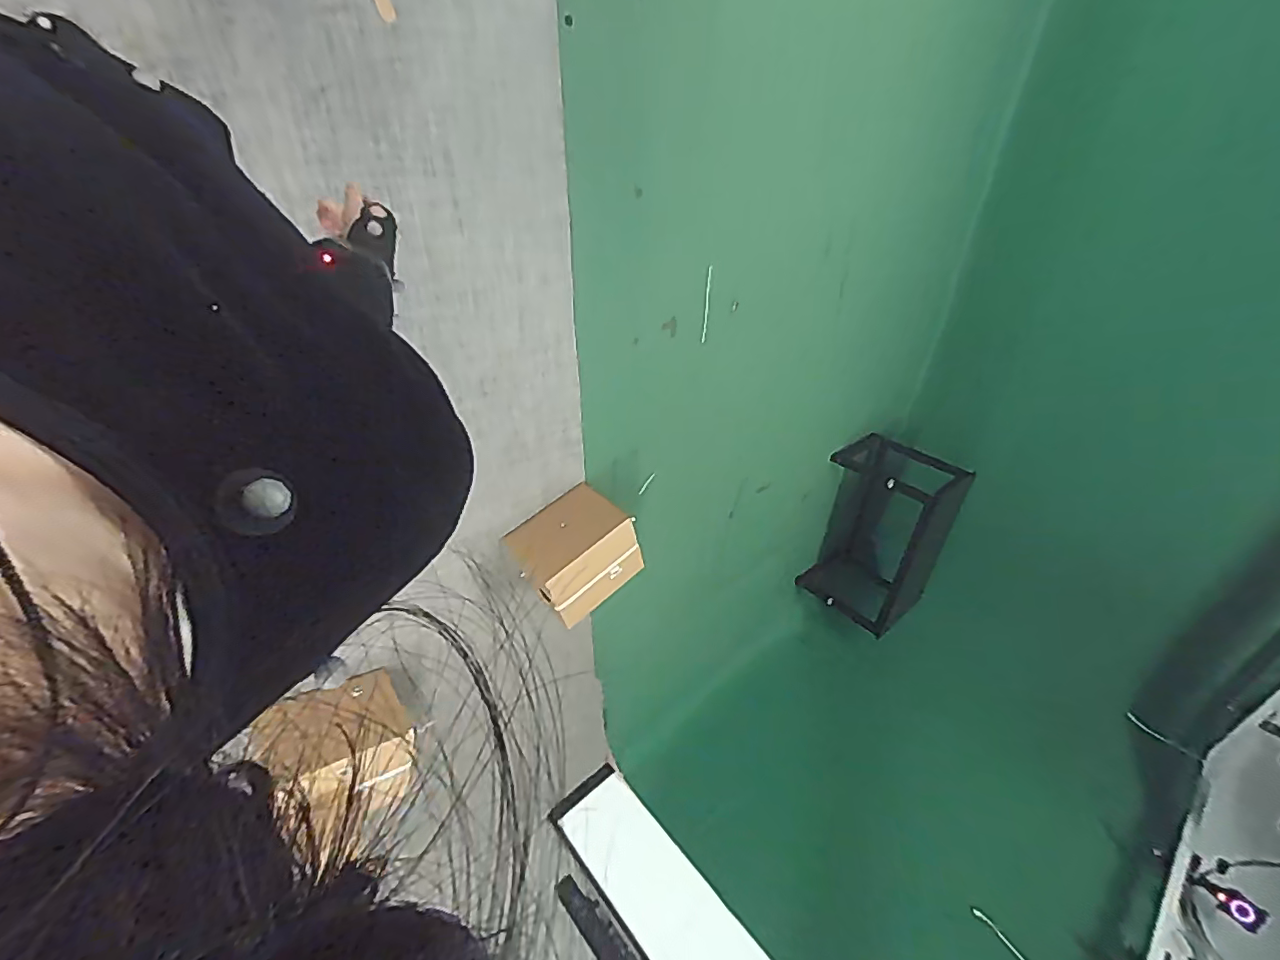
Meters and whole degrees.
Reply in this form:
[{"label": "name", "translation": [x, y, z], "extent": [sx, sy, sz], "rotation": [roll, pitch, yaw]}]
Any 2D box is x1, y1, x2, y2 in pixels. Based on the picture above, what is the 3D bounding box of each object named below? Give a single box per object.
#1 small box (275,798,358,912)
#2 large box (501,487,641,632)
[{"label": "small box", "translation": [-0.932, 1.067, 1.553], "extent": [0.168, 0.176, 0.179], "rotation": [-6, 121, -45]}, {"label": "large box", "translation": [-0.264, 0.302, 2.128], "extent": [0.408, 0.320, 0.320], "rotation": [-38, 139, -24]}]
